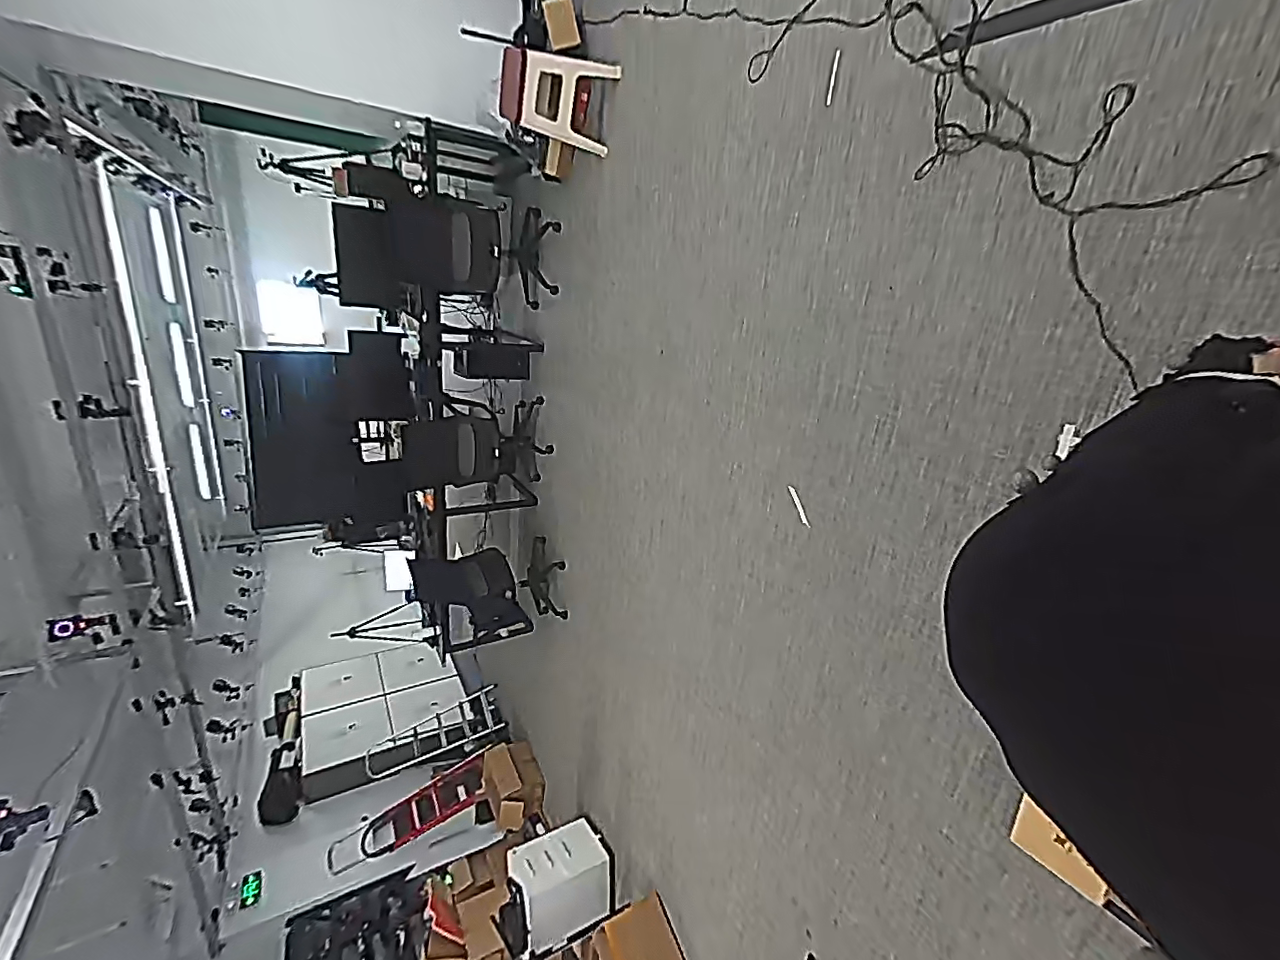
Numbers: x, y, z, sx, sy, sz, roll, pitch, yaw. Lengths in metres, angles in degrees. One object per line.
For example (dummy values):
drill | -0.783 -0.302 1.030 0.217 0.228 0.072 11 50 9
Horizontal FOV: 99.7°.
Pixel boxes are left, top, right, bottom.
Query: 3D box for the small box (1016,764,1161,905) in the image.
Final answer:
small box | 0.970 0.753 1.176 0.179 0.176 0.168 27 118 55
